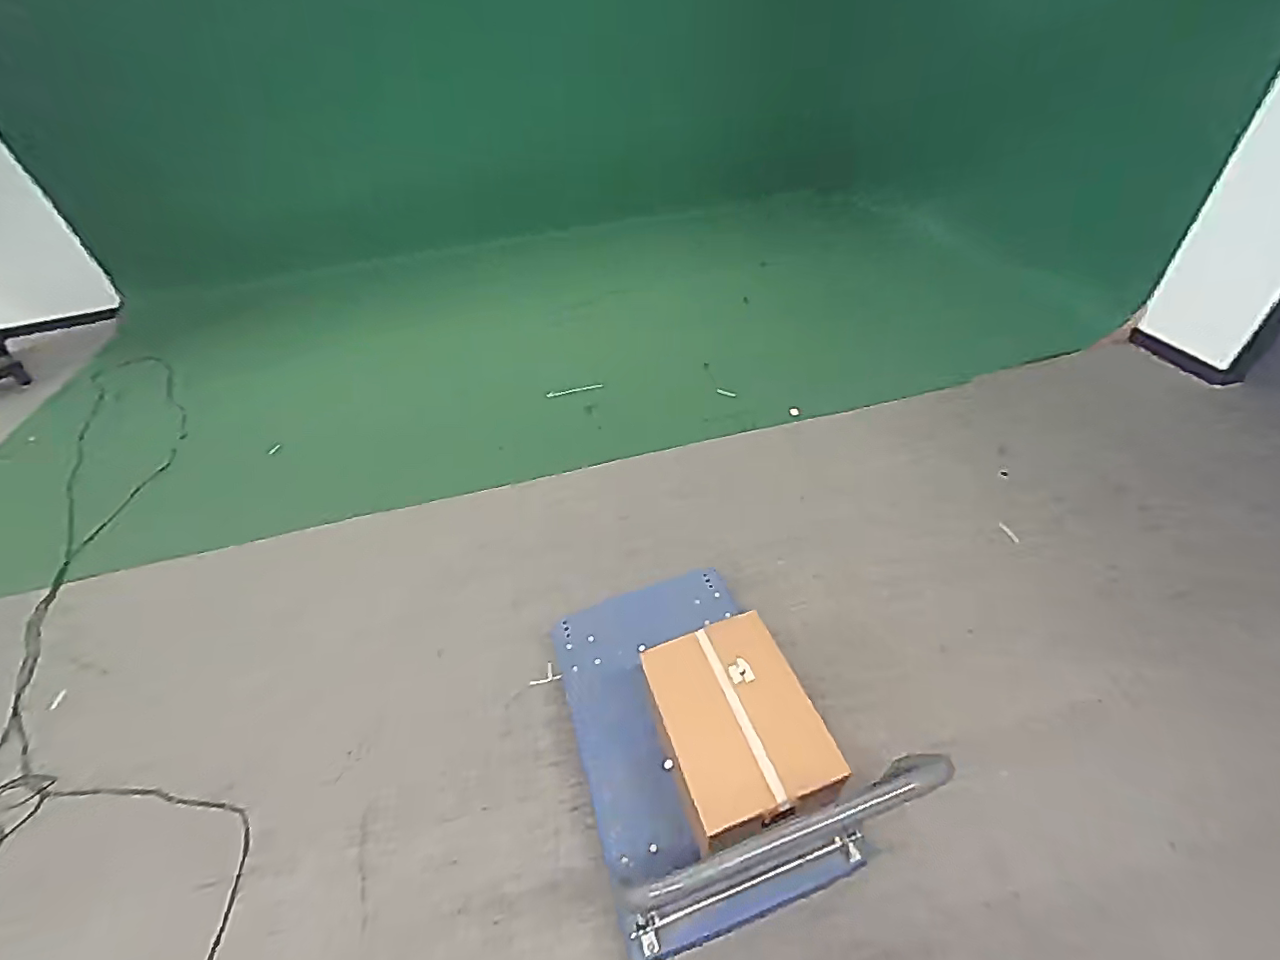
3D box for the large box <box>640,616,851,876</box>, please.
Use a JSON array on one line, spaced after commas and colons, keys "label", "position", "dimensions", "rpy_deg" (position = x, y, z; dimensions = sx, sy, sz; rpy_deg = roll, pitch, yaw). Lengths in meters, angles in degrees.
[{"label": "large box", "position": [0.223, 0.609, 1.267], "dimensions": [0.320, 0.320, 0.408], "rpy_deg": [-17, 43, -11]}]
